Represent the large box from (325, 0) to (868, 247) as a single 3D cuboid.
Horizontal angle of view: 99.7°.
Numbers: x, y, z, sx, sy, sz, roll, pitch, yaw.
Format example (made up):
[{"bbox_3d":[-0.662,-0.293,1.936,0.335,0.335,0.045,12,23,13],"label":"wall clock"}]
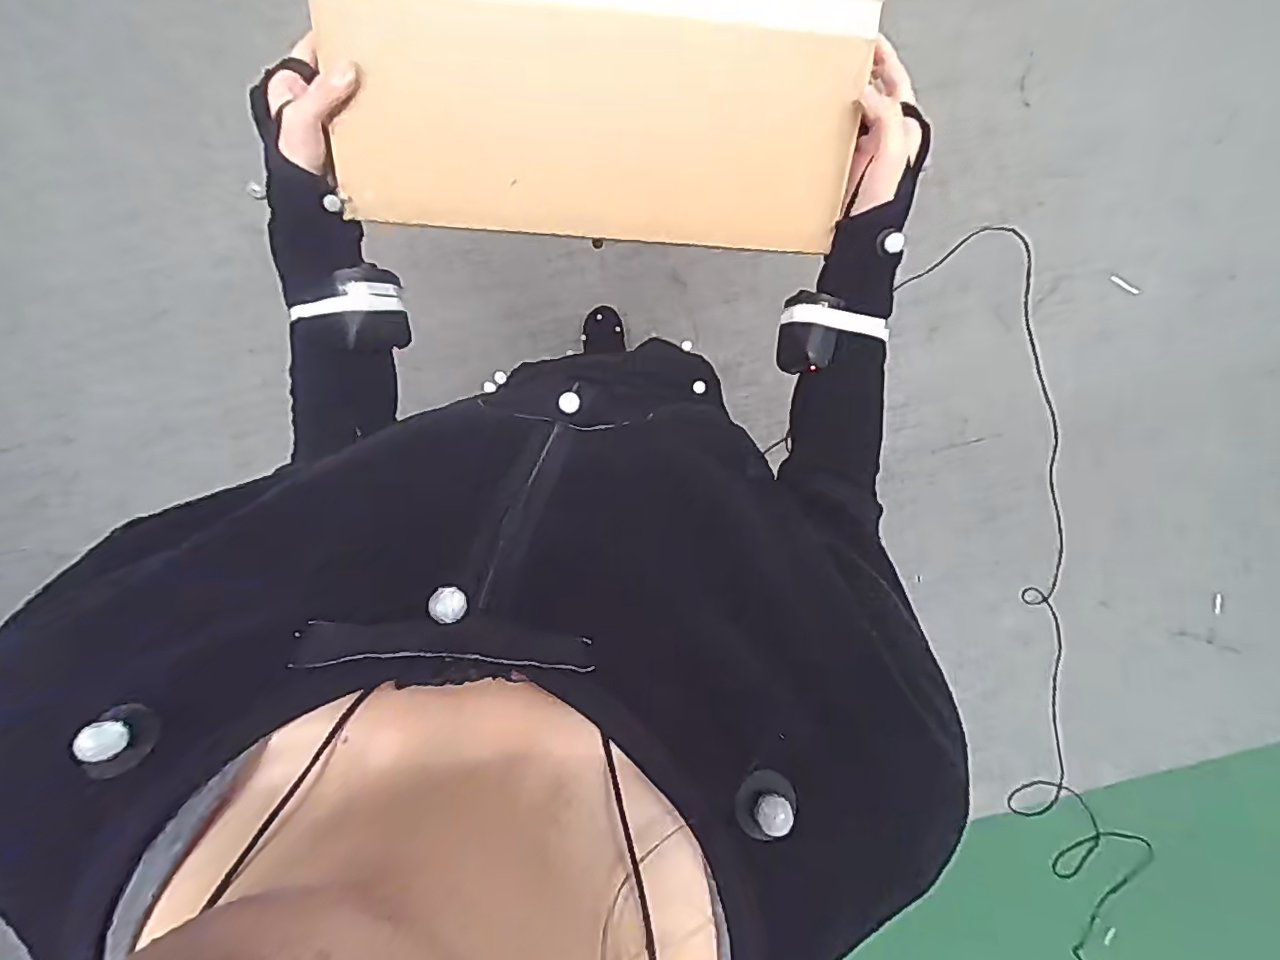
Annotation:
[{"bbox_3d":[-0.035,-0.417,0.528,0.408,0.320,0.320,2,116,-5],"label":"large box"}]
